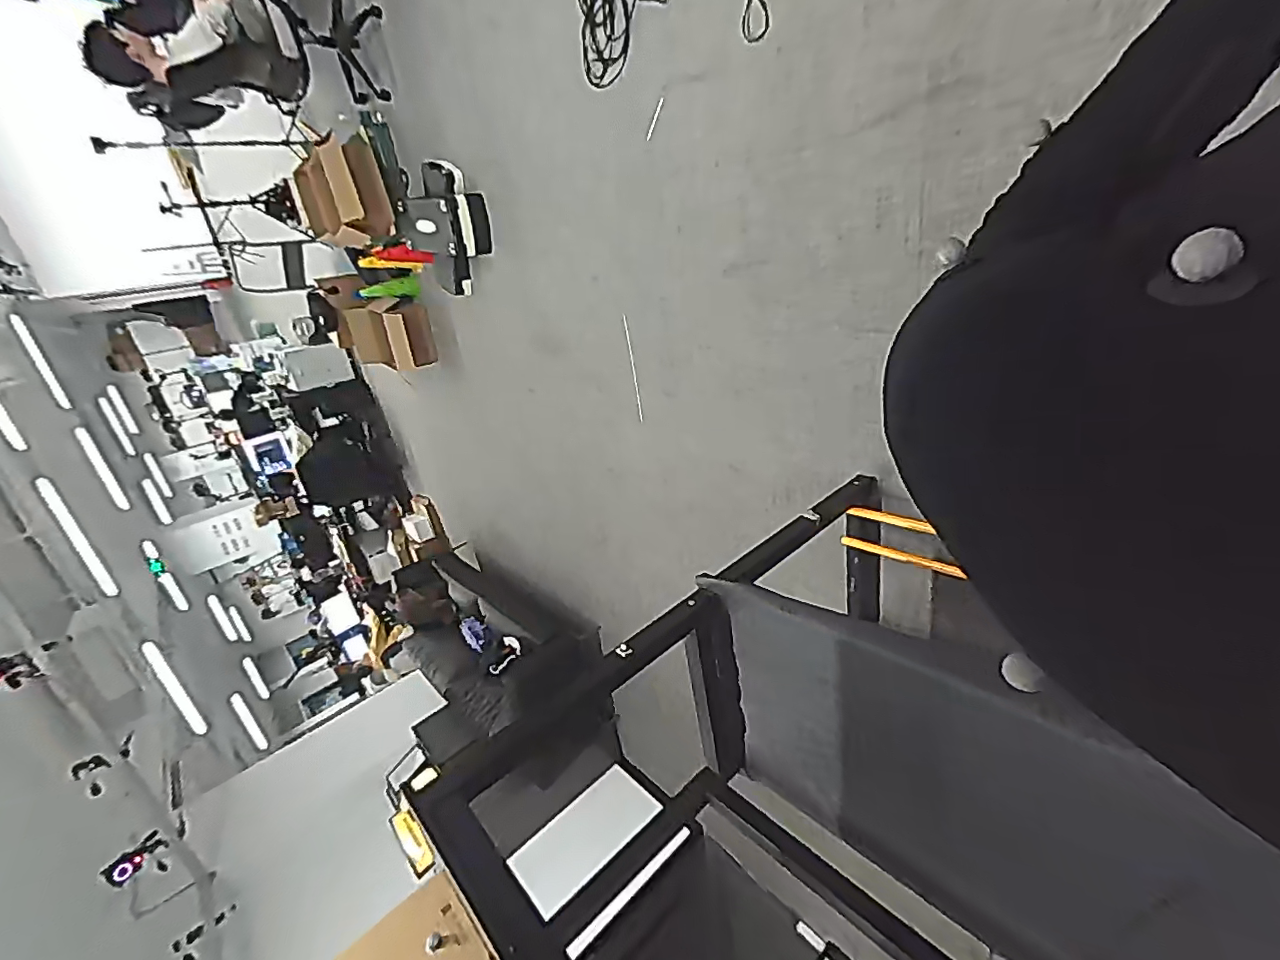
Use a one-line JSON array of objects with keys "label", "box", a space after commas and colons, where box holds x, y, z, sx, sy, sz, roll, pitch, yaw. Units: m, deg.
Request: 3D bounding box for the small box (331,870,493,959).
[{"label": "small box", "box": [-0.306, 0.726, 0.776, 0.168, 0.176, 0.179, 22, 127, 43]}]
